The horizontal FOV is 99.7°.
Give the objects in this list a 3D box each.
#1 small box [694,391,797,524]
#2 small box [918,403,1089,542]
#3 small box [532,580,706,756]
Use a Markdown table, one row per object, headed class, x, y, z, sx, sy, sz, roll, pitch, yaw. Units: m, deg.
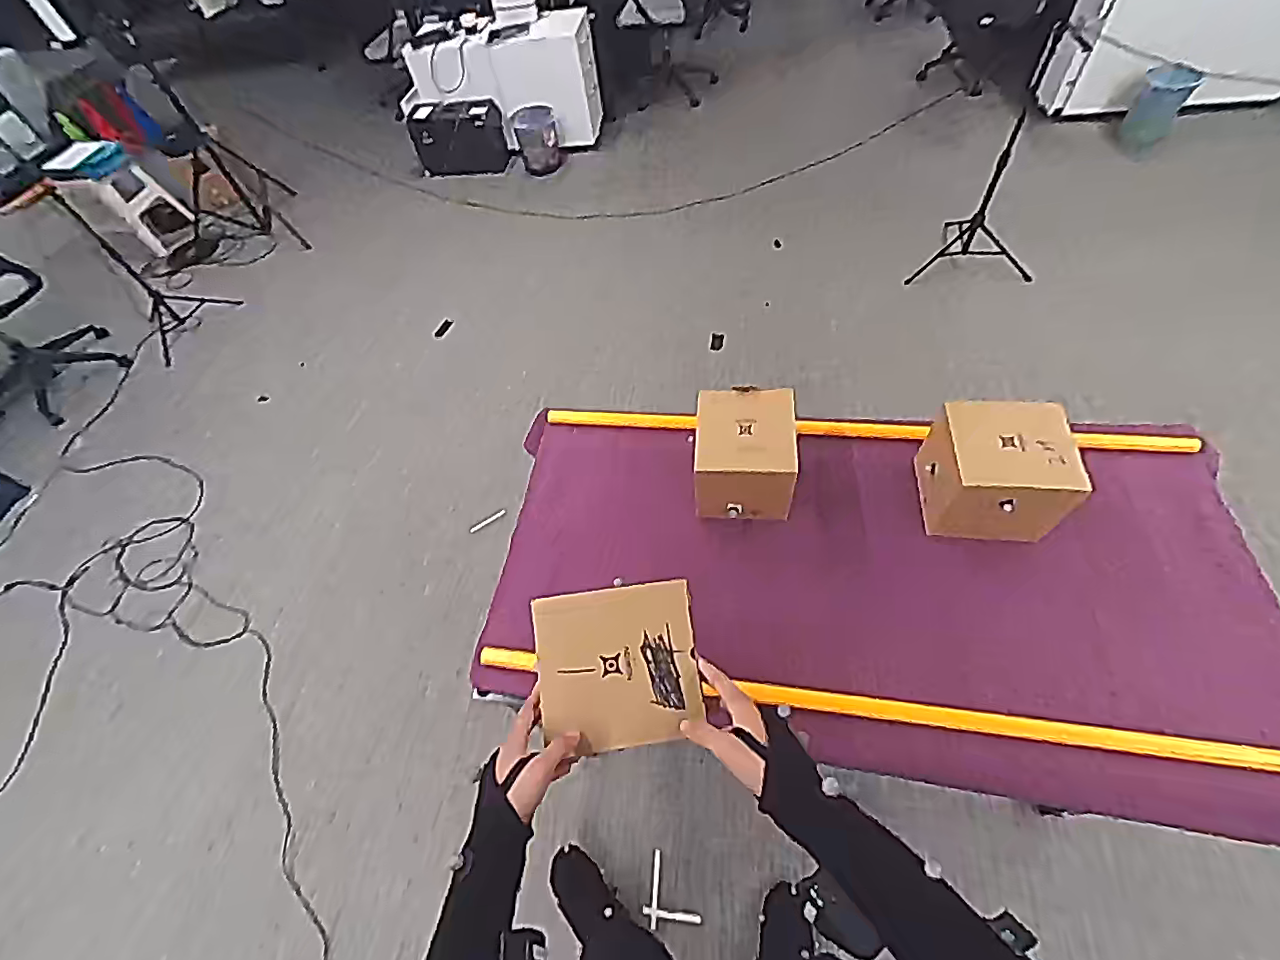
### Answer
| class | x | y | z | sx | sy | sz | roll | pitch | yaw |
| --- | --- | --- | --- | --- | --- | --- | --- | --- | --- |
| small box | 0.183 | -0.039 | 0.967 | 0.168 | 0.176 | 0.179 | 1 | 57 | 9 |
| small box | 0.577 | -0.009 | 0.892 | 0.179 | 0.176 | 0.168 | 3 | 58 | 10 |
| small box | -0.030 | 0.218 | 0.659 | 0.179 | 0.176 | 0.168 | -6 | 75 | -5 |
